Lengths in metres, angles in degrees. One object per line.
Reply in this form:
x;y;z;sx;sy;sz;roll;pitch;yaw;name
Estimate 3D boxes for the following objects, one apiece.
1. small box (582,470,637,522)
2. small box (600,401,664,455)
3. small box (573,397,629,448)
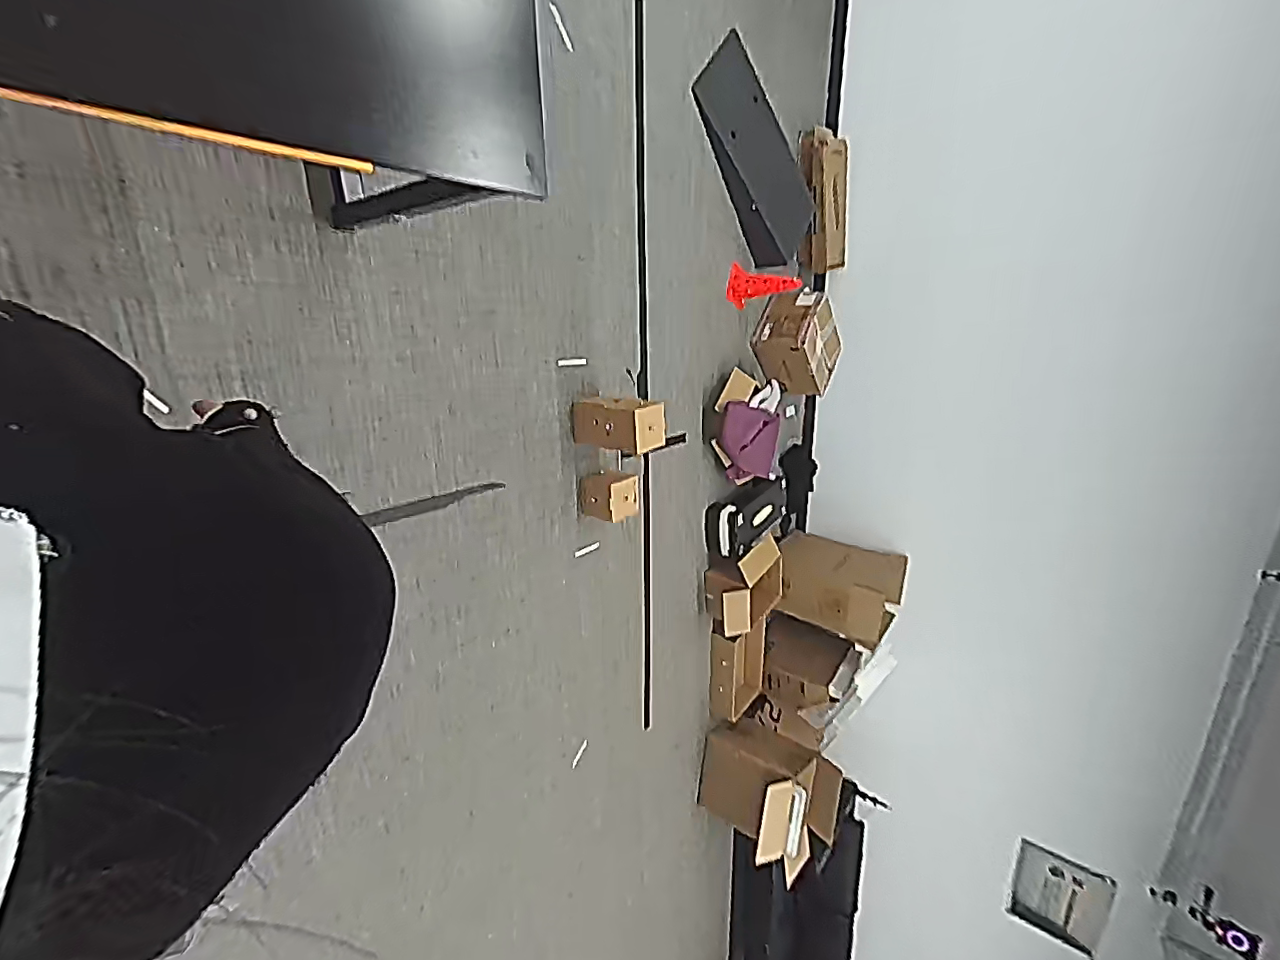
-0.131;0.063;2.263;0.179;0.176;0.168;-19;114;-48;small box
-0.029;-0.203;2.047;0.179;0.176;0.168;-24;116;-46;small box
-0.154;-0.234;2.146;0.168;0.176;0.179;-22;117;-48;small box
